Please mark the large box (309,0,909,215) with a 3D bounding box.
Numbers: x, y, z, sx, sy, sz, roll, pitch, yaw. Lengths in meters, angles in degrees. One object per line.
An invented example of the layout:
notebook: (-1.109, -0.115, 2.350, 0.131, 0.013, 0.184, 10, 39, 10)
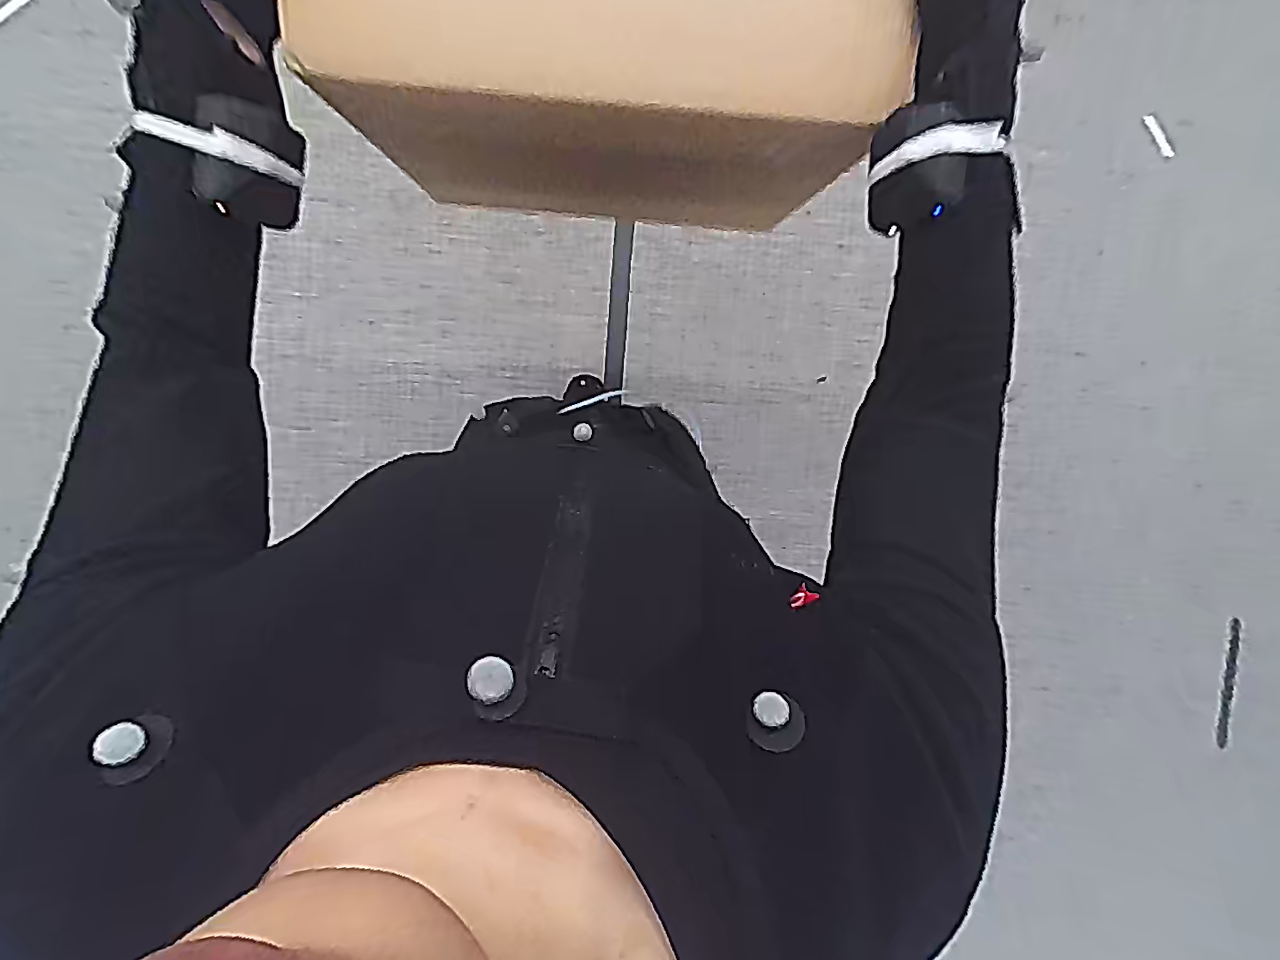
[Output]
large box: (-0.021, -0.445, 0.478, 0.408, 0.320, 0.320, 2, 104, -4)
